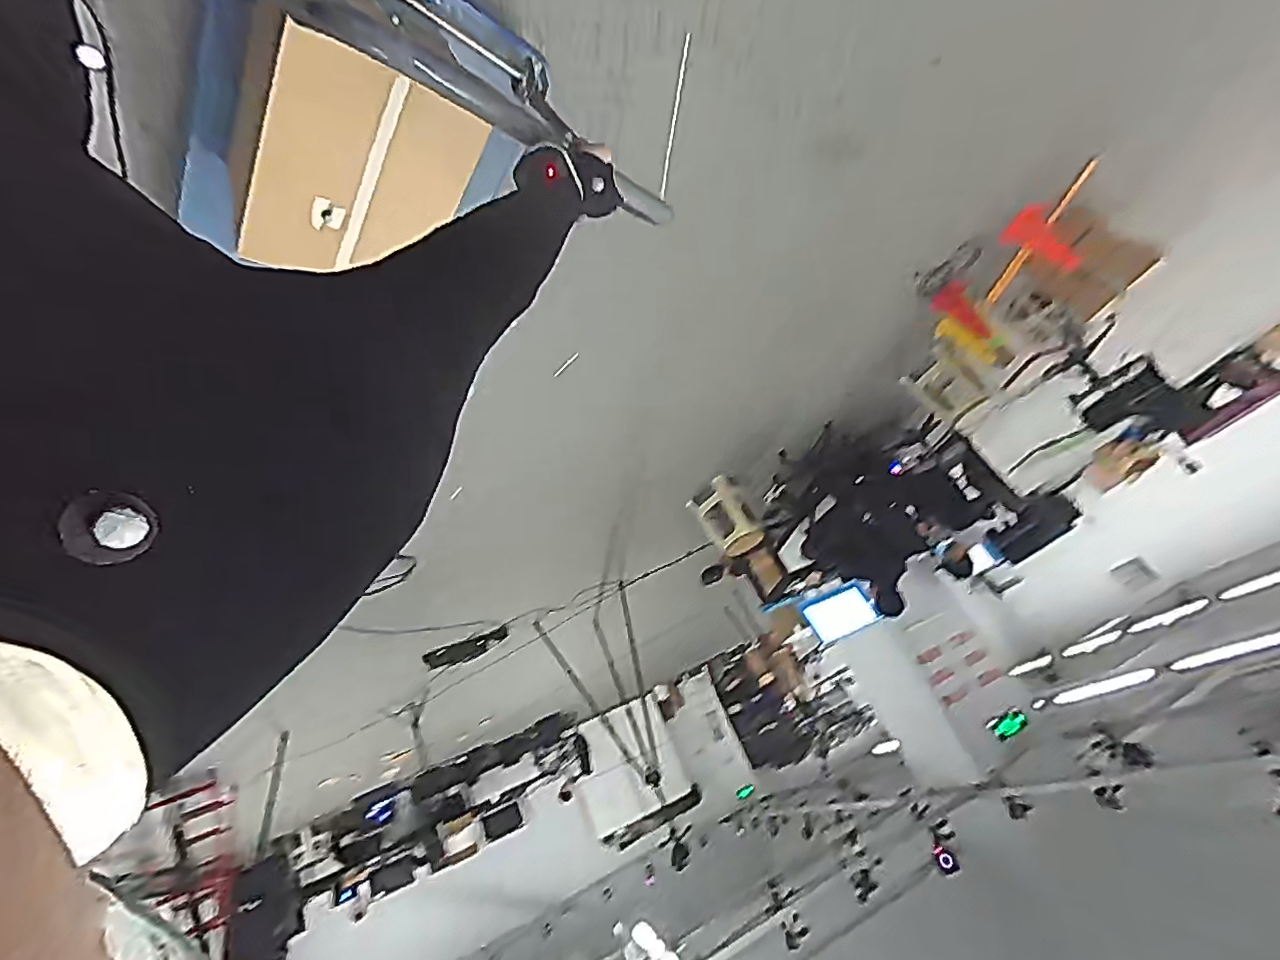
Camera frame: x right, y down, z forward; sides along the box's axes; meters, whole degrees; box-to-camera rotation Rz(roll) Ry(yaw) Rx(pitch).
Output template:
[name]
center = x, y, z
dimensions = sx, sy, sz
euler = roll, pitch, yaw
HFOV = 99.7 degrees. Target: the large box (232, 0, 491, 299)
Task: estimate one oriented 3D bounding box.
[large box]
center = -0.538, -0.632, 1.015
dimensions = 0.320, 0.320, 0.408
euler = 4, 139, -45
